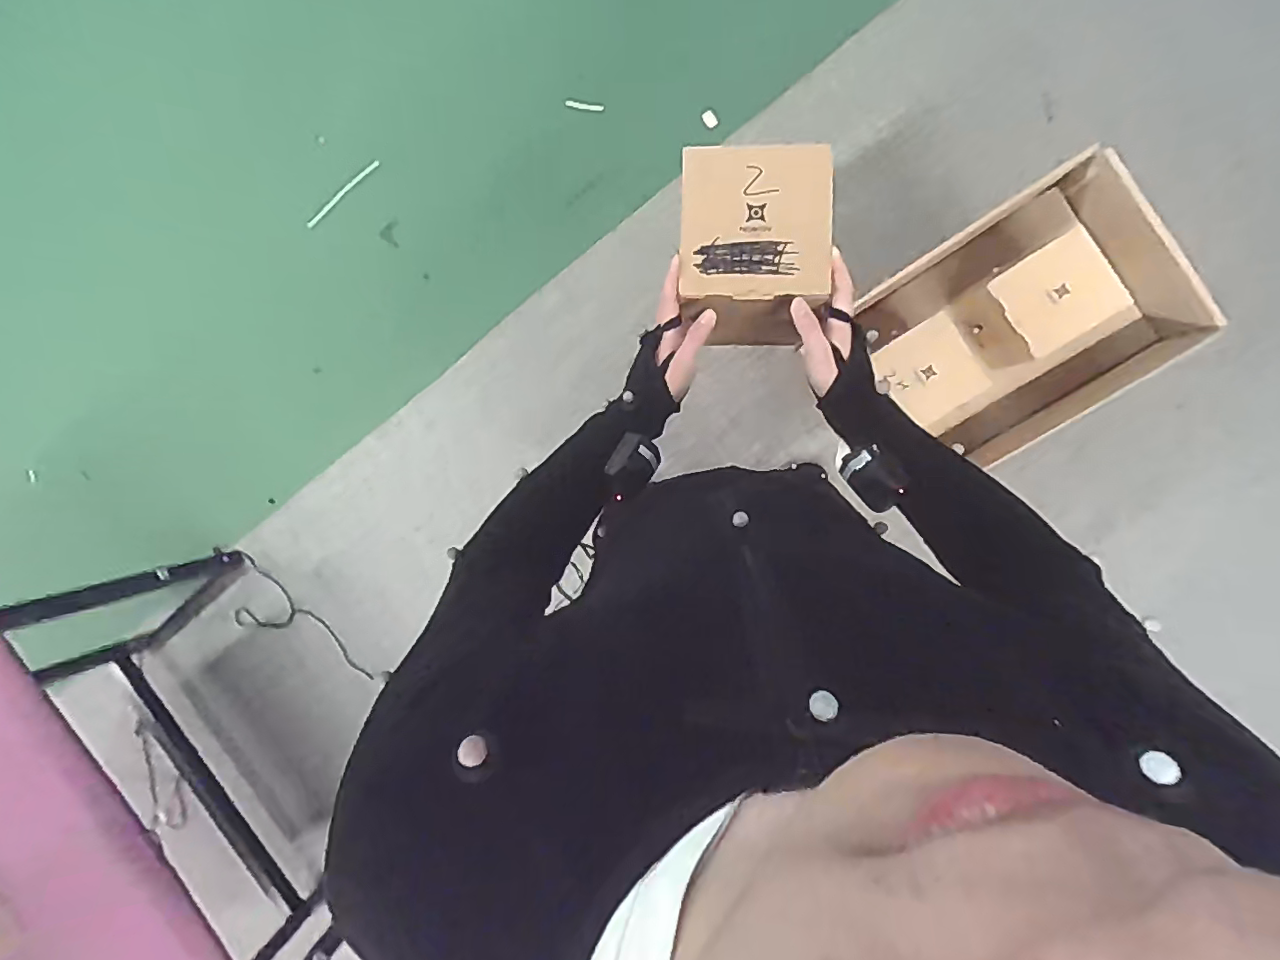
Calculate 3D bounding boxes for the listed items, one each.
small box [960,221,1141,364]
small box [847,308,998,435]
[{"bbox_3d":[0.745,-0.335,1.005,0.179,0.176,0.168,-34,89,12],"label":"small box"},{"bbox_3d":[0.531,-0.201,1.046,0.179,0.176,0.168,-32,89,10],"label":"small box"}]
